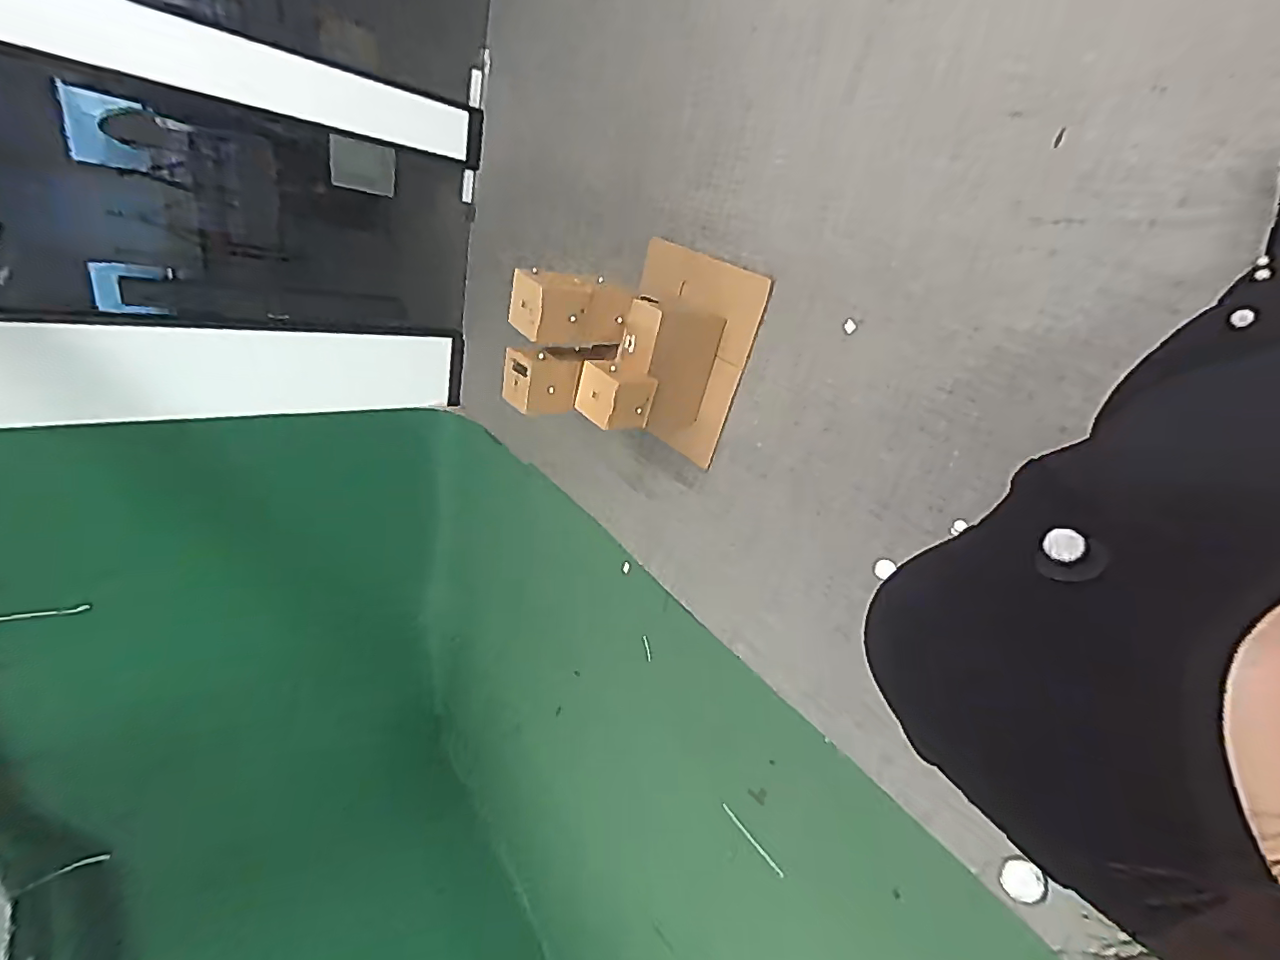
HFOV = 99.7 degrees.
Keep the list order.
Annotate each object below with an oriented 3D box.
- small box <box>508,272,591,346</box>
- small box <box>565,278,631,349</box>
[{"bbox_3d":[-0.277,-0.517,1.646,0.179,0.176,0.168,42,129,35],"label":"small box"},{"bbox_3d":[-0.150,-0.538,1.754,0.168,0.176,0.179,41,128,36],"label":"small box"}]
